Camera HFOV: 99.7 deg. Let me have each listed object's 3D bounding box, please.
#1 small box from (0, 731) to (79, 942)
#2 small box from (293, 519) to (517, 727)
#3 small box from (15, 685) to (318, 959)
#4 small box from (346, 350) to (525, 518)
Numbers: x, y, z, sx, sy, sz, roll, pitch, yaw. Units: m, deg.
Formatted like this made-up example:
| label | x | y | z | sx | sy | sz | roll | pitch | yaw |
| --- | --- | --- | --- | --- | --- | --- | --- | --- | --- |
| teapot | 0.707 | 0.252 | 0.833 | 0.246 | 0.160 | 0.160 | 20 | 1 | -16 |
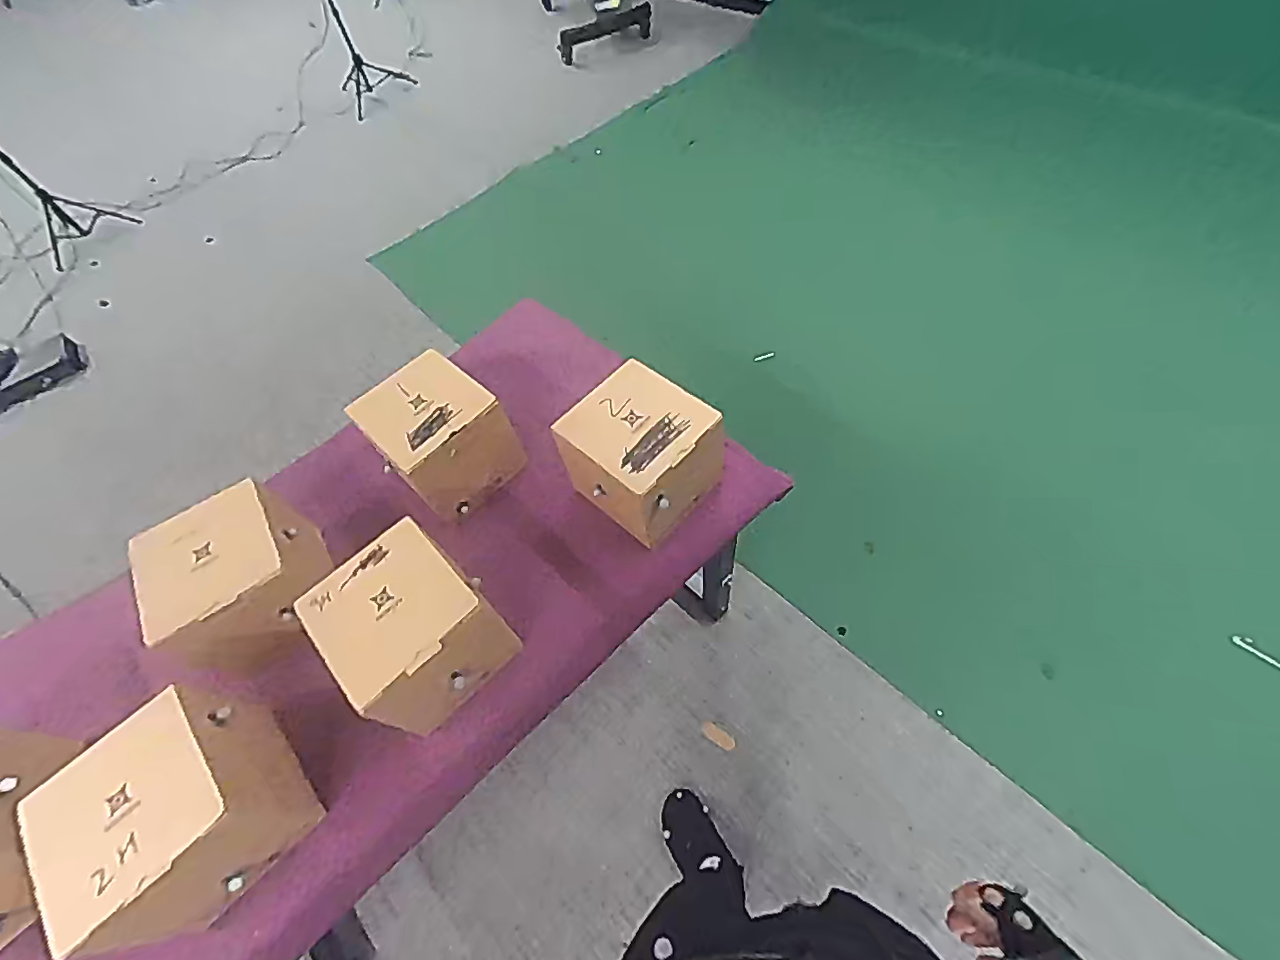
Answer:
| label | x | y | z | sx | sy | sz | roll | pitch | yaw |
| --- | --- | --- | --- | --- | --- | --- | --- | --- | --- |
| small box | -0.766 | 0.409 | 0.605 | 0.168 | 0.176 | 0.179 | -41 | 63 | -19 |
| small box | -0.285 | 0.189 | 0.689 | 0.168 | 0.176 | 0.179 | -41 | 61 | -18 |
| small box | -0.508 | 0.367 | 0.600 | 0.168 | 0.176 | 0.179 | -41 | 62 | -18 |
| small box | -0.310 | -0.064 | 0.853 | 0.179 | 0.176 | 0.168 | 37 | 68 | 27 |
